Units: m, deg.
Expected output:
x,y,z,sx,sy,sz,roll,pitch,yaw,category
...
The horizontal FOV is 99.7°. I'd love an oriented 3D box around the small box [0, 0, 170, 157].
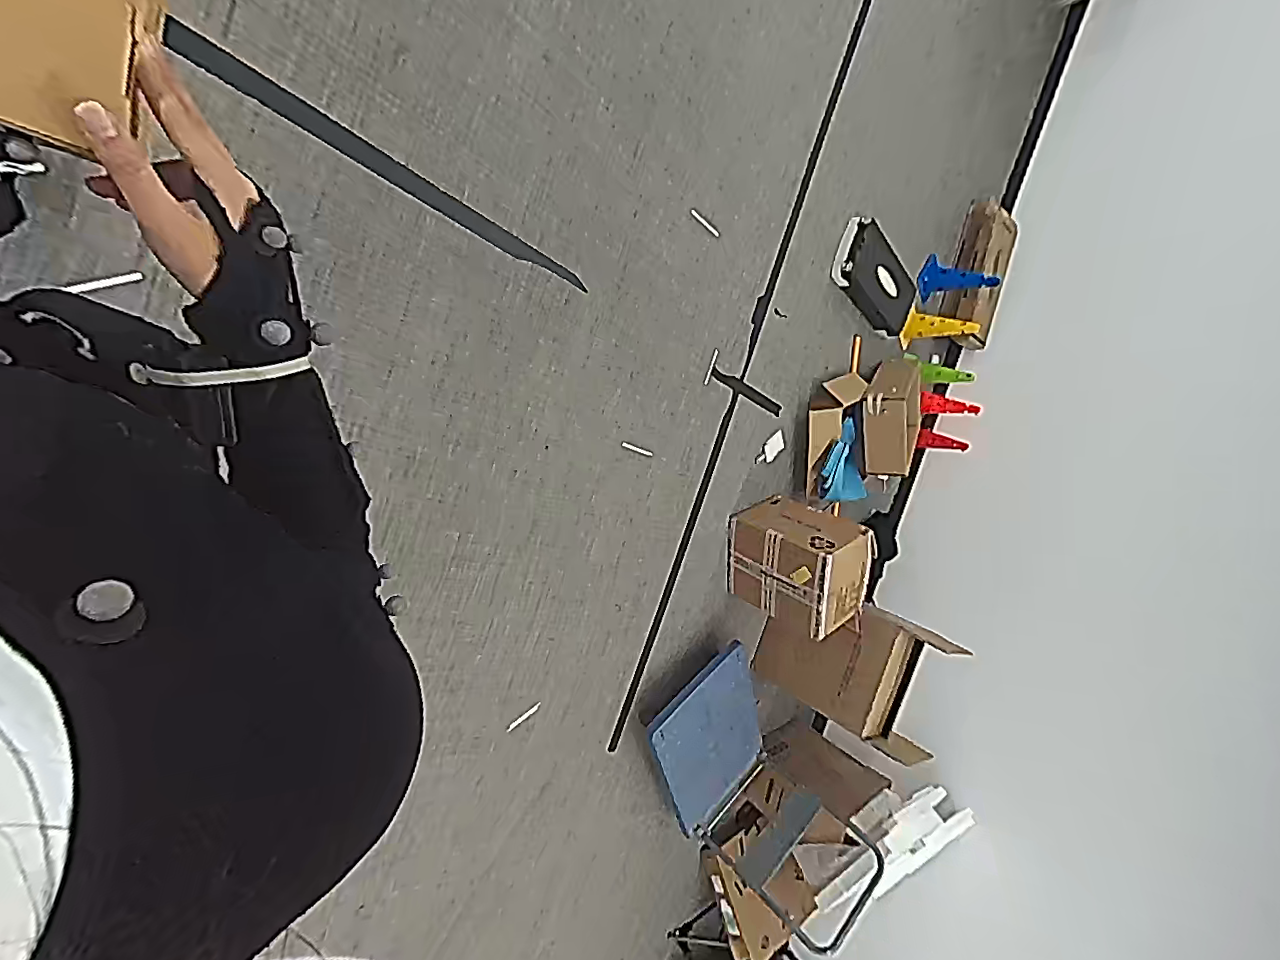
x,y,z,sx,sy,sz,roll,pitch,yaw,category
-0.353,-0.283,0.267,0.179,0.176,0.168,7,106,-44,small box
